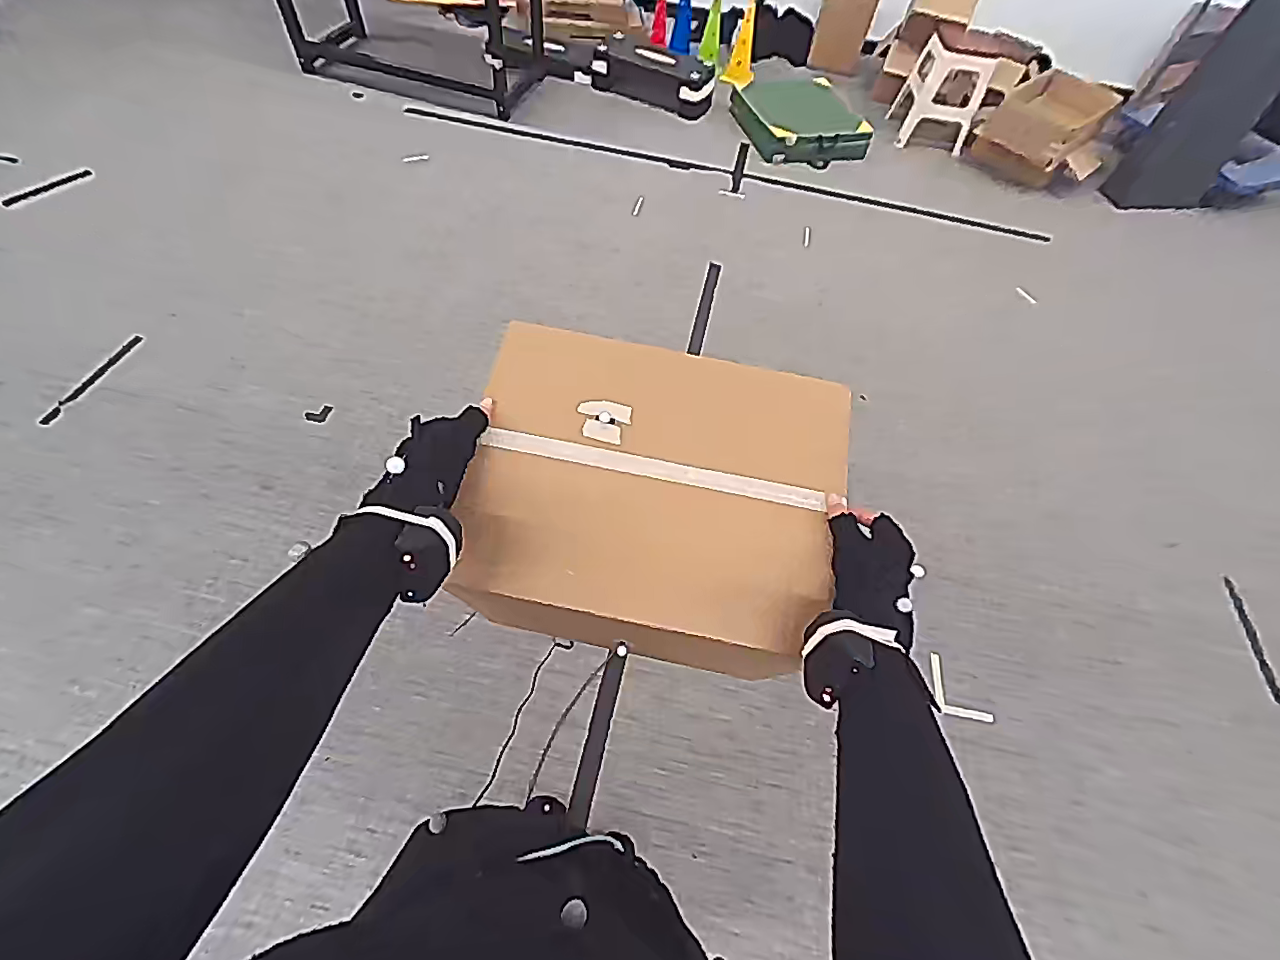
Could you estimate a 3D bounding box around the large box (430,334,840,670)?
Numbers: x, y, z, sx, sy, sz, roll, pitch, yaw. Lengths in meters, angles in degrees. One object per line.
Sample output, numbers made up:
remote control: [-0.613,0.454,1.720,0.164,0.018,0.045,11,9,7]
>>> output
large box: [0.011,0.053,0.721,0.408,0.320,0.320,11,66,3]
